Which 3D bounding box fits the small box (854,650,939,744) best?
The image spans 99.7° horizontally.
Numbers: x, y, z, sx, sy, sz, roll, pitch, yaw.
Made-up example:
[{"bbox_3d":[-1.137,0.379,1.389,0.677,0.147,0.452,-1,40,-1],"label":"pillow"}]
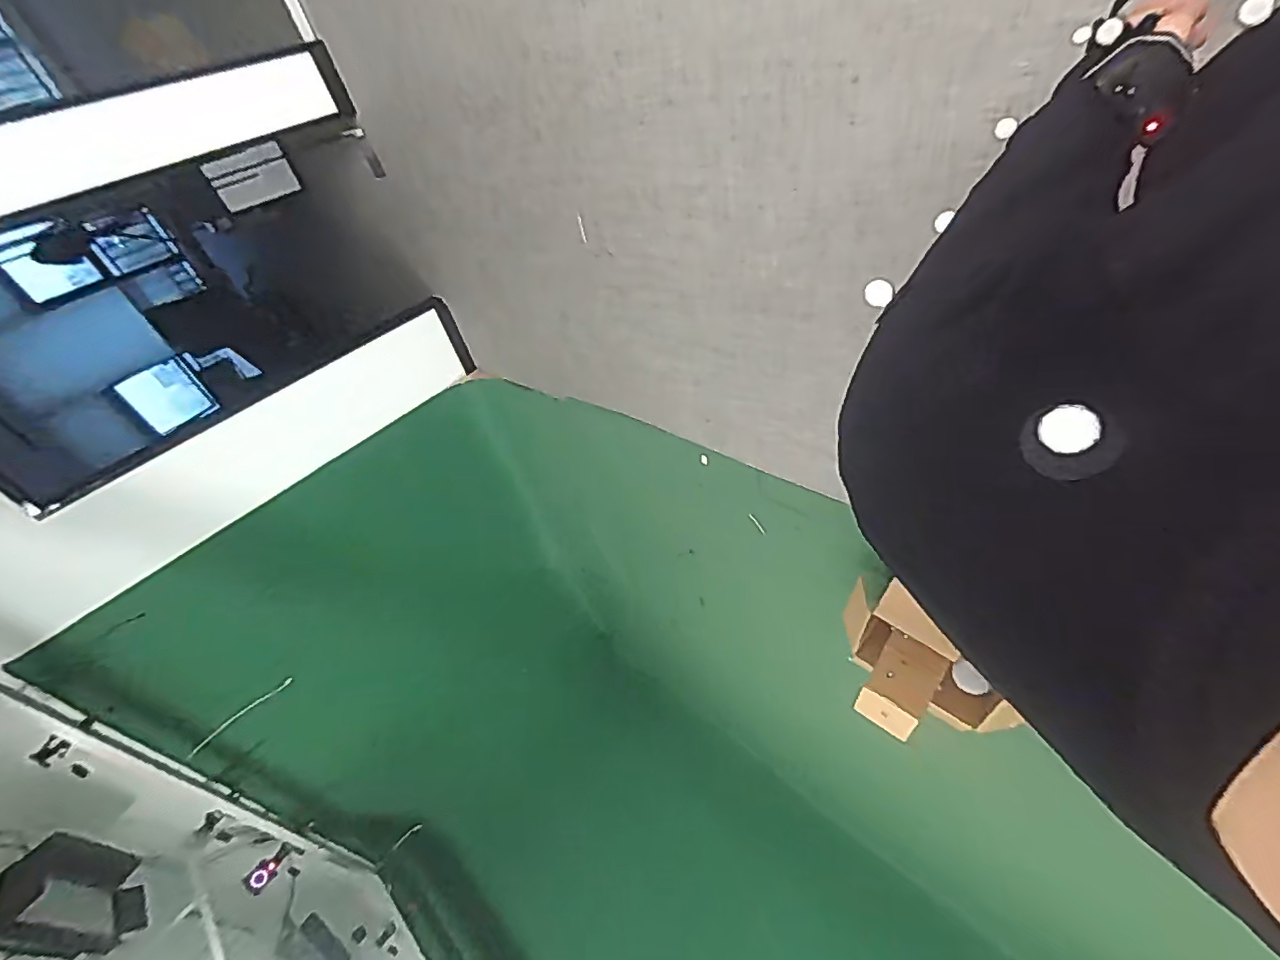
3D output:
[{"bbox_3d":[0.783,0.656,1.649,0.168,0.176,0.179,30,147,32],"label":"small box"}]
